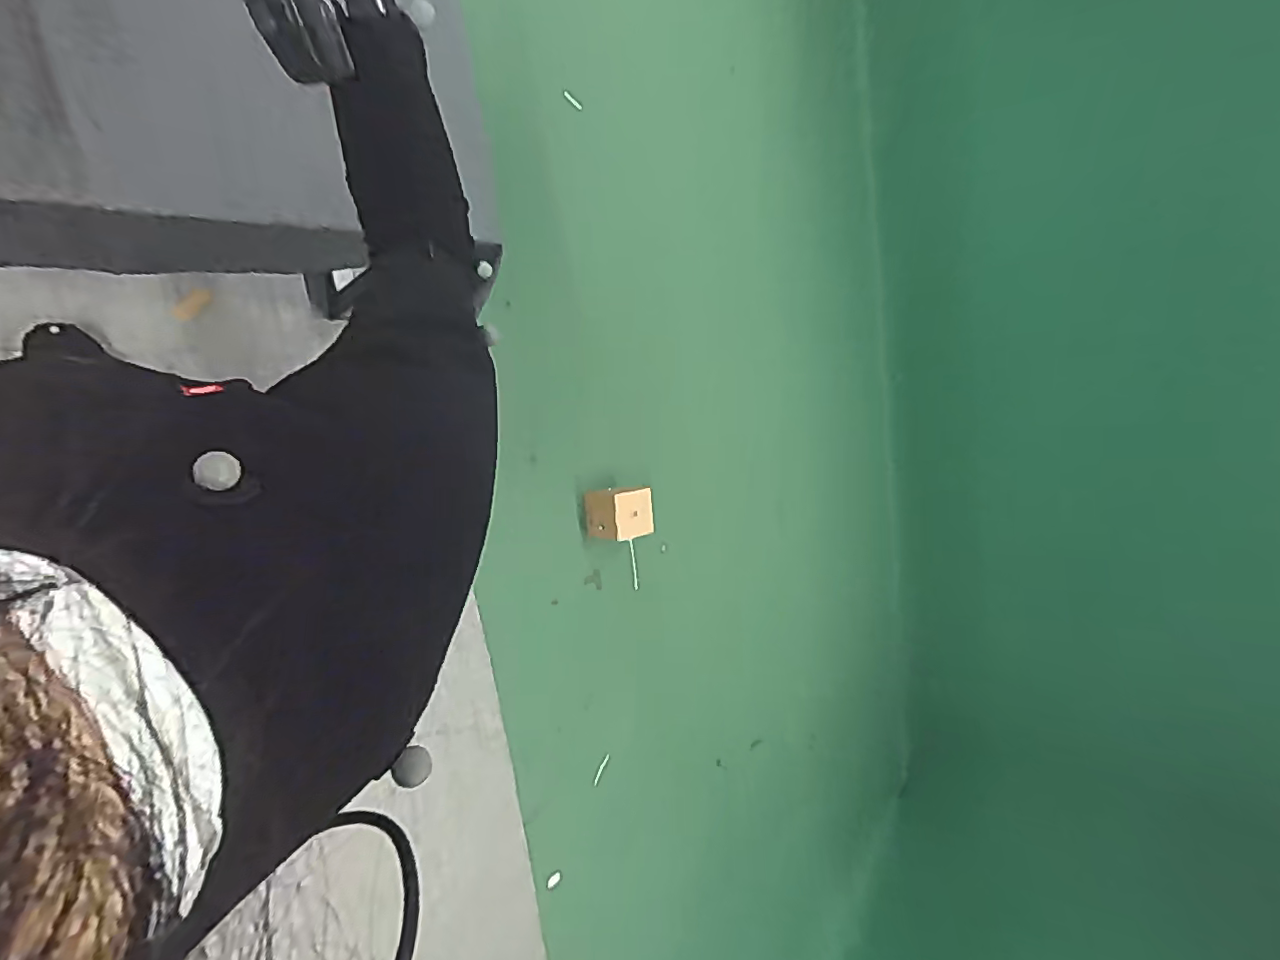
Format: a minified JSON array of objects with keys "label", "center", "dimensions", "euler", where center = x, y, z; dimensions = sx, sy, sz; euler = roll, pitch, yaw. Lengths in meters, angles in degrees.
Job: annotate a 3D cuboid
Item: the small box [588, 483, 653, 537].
[{"label":"small box","center":[-0.075,0.104,1.946],"dimensions":[0.179,0.176,0.168],"euler":[-10,99,-43]}]
